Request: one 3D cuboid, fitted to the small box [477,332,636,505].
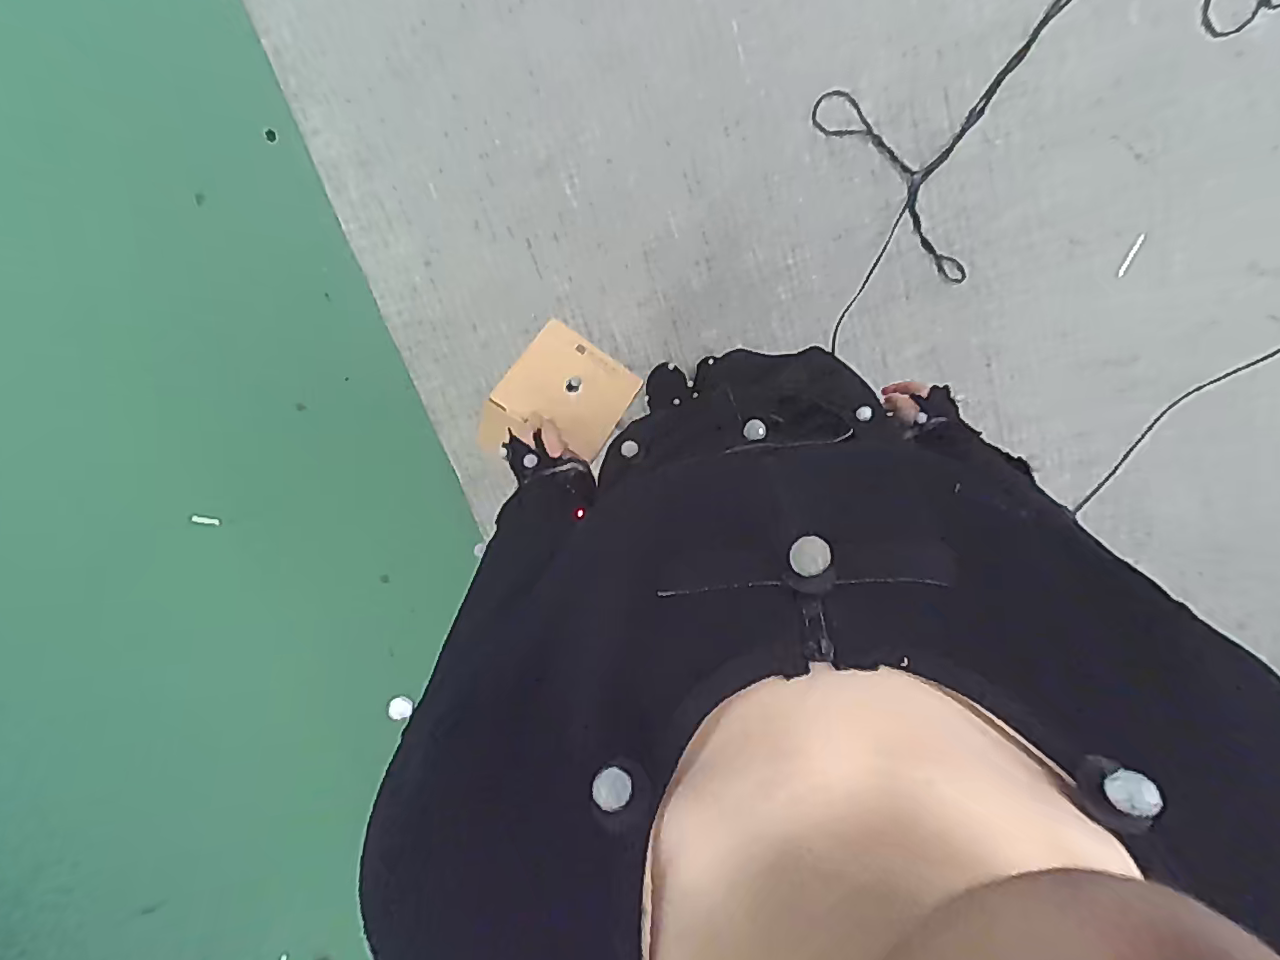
[{"bbox_3d":[-0.126,-0.094,0.837,0.168,0.179,0.176,34,61,-8],"label":"small box"}]
